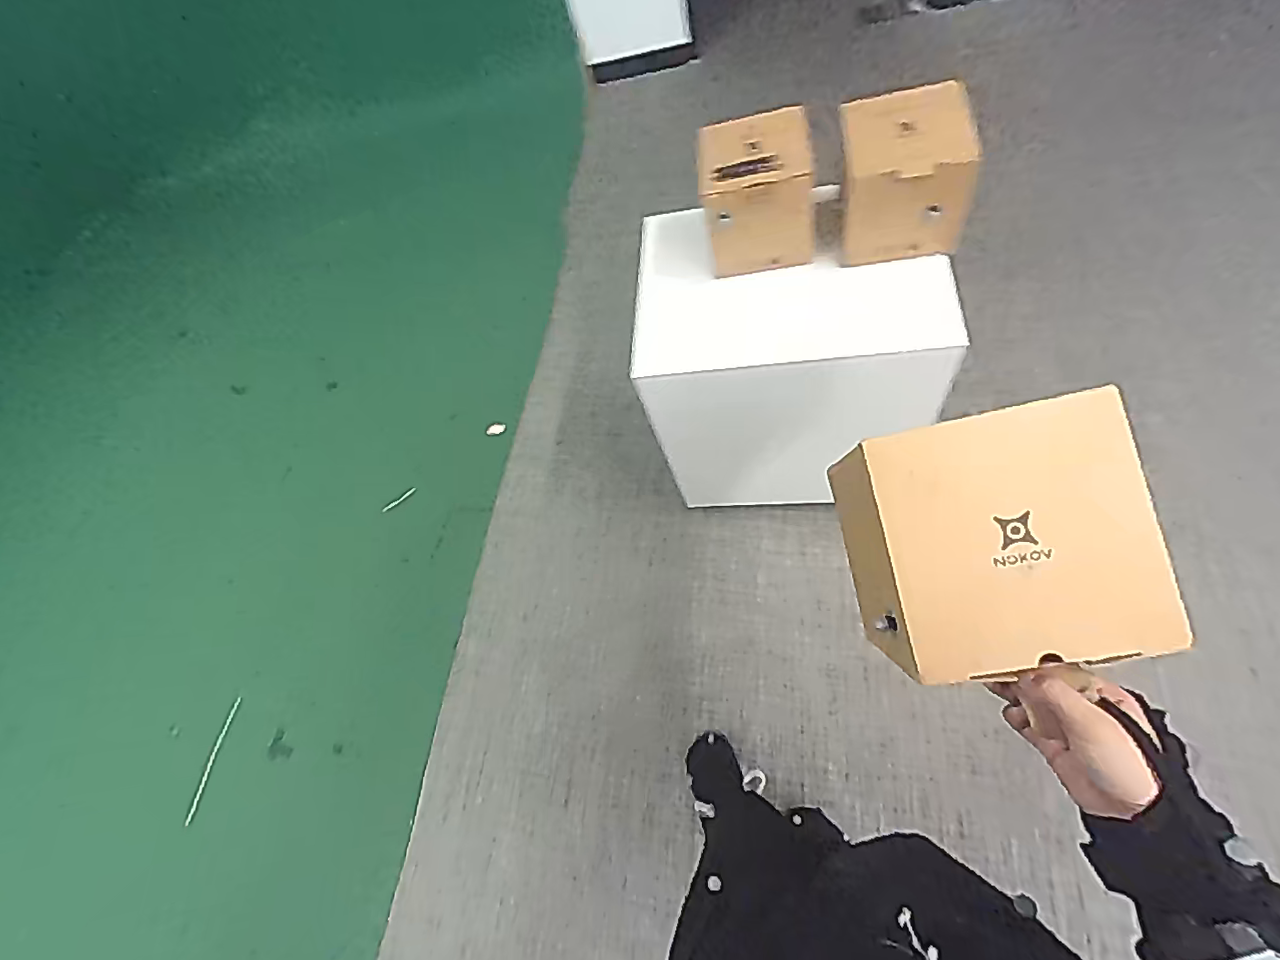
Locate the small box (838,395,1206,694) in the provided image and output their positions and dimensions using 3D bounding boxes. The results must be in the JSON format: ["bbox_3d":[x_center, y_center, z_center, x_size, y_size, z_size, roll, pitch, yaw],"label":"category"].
[{"bbox_3d":[0.270,0.050,0.434,0.168,0.176,0.179,-12,84,10],"label":"small box"}]

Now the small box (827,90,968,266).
[{"bbox_3d":[0.389,-0.460,0.849,0.168,0.176,0.179,-3,63,14],"label":"small box"}]
